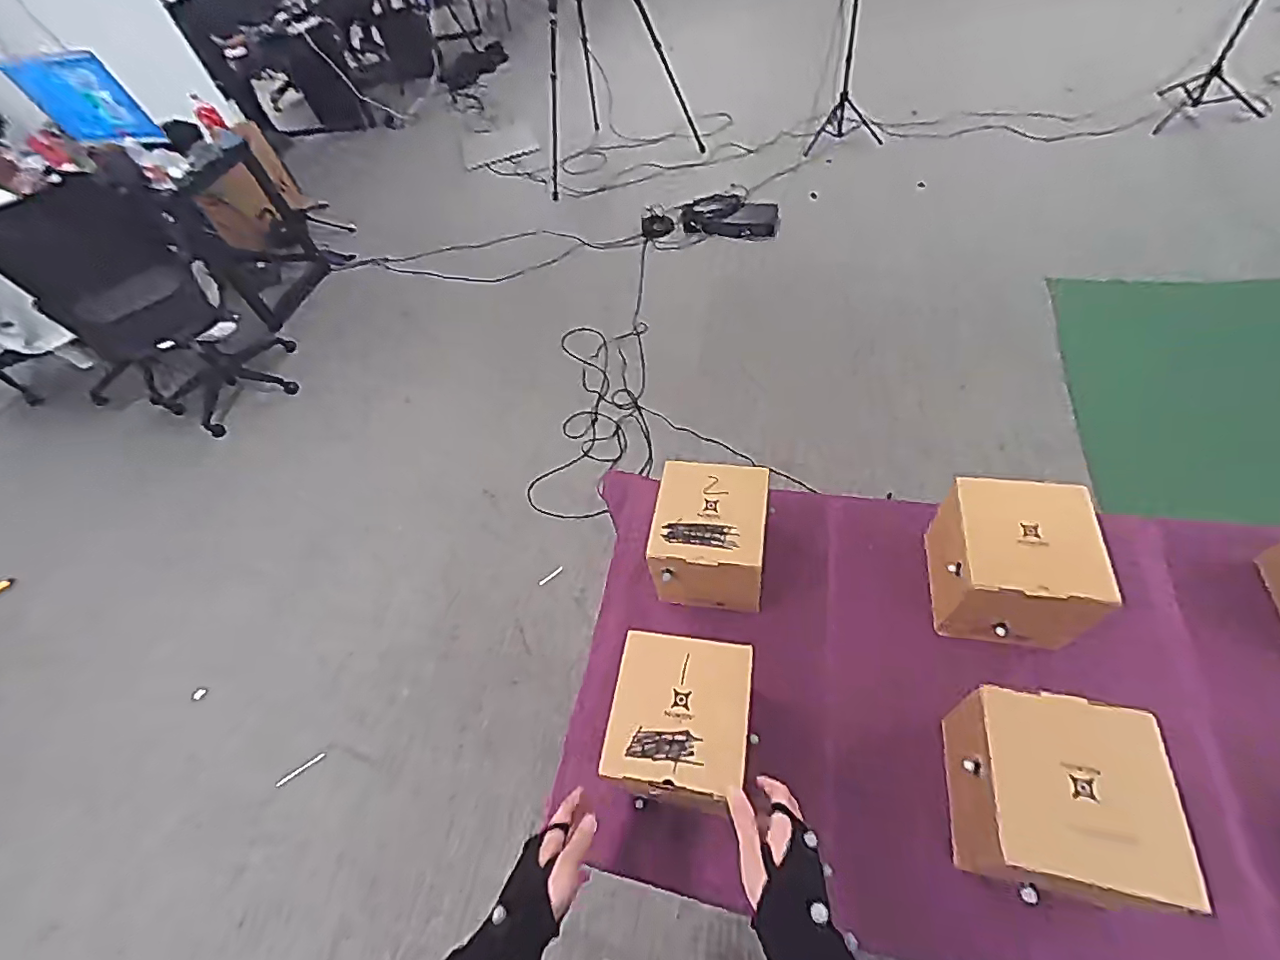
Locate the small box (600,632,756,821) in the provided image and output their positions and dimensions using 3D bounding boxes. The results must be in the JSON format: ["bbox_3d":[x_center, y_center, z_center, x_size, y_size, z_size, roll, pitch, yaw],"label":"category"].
[{"bbox_3d":[0.061,0.323,0.704,0.168,0.176,0.179,5,53,13],"label":"small box"}]

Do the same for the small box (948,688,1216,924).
[{"bbox_3d":[0.461,0.362,0.606,0.168,0.176,0.179,6,54,16],"label":"small box"}]

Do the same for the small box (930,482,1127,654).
[{"bbox_3d":[0.531,0.126,0.773,0.168,0.176,0.179,5,55,13],"label":"small box"}]
